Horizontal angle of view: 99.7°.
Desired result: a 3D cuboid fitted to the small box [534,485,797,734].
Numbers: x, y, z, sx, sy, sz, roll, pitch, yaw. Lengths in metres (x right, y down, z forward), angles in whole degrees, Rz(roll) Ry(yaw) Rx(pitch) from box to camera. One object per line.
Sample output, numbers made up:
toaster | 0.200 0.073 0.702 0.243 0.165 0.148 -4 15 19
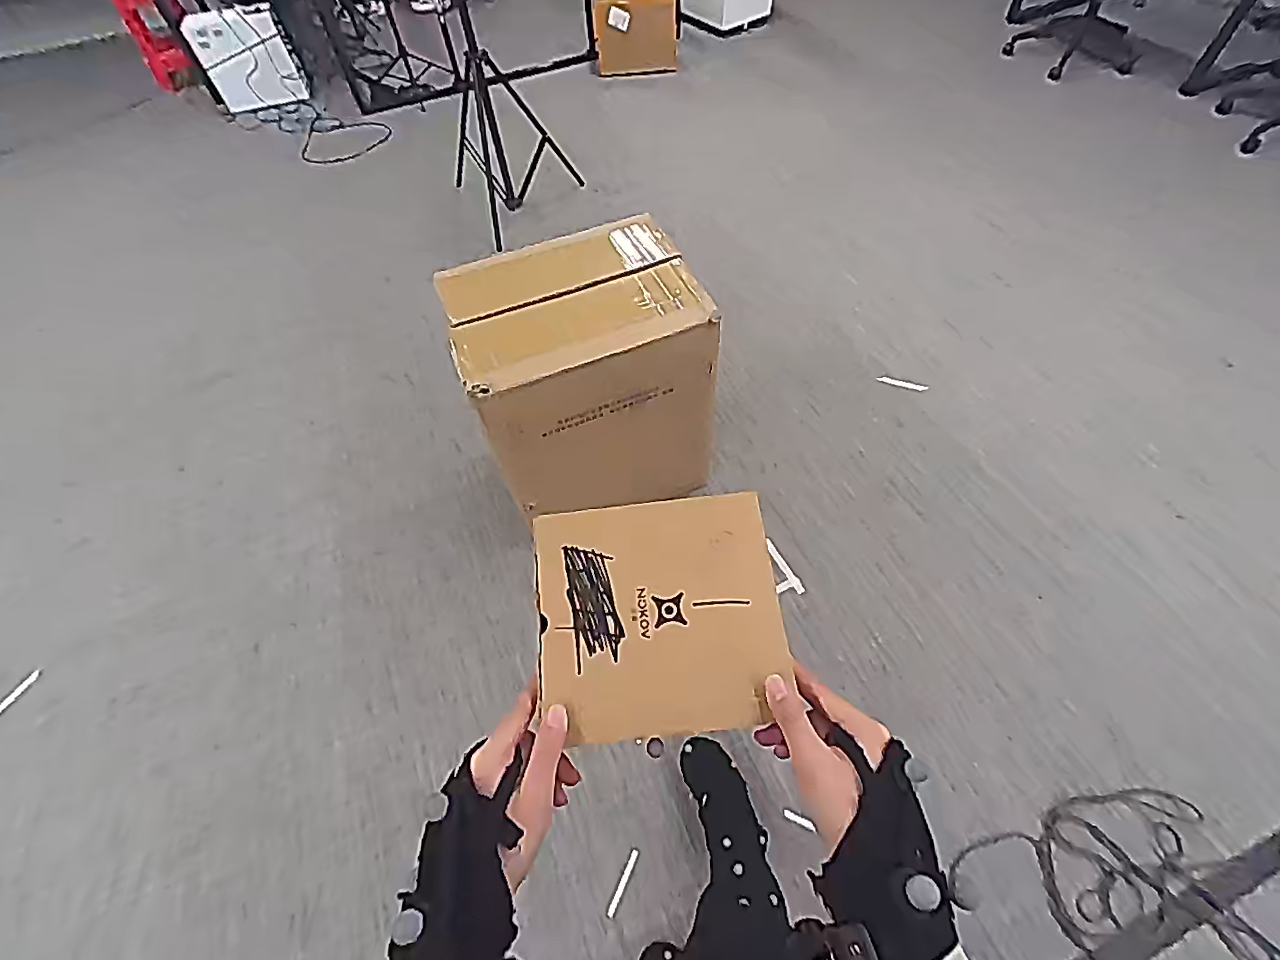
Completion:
small box | 0.015 0.120 0.461 0.179 0.176 0.168 -6 66 0
